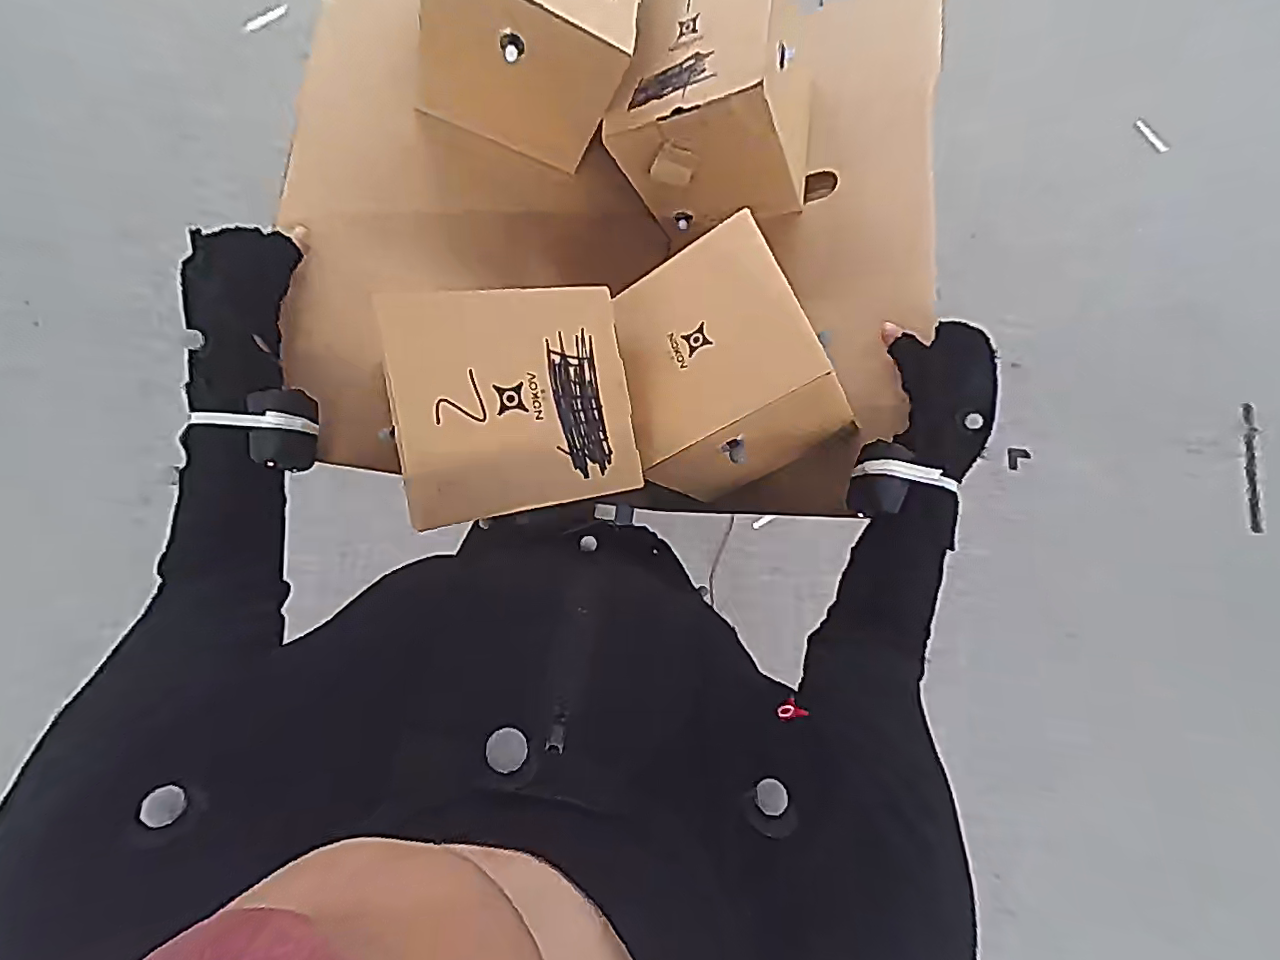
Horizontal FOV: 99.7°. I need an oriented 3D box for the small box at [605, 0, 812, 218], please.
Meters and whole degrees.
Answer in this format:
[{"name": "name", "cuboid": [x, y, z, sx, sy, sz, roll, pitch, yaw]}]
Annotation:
[{"name": "small box", "cuboid": [0.084, -0.412, 0.585, 0.168, 0.176, 0.179, 2, 78, 29]}]
